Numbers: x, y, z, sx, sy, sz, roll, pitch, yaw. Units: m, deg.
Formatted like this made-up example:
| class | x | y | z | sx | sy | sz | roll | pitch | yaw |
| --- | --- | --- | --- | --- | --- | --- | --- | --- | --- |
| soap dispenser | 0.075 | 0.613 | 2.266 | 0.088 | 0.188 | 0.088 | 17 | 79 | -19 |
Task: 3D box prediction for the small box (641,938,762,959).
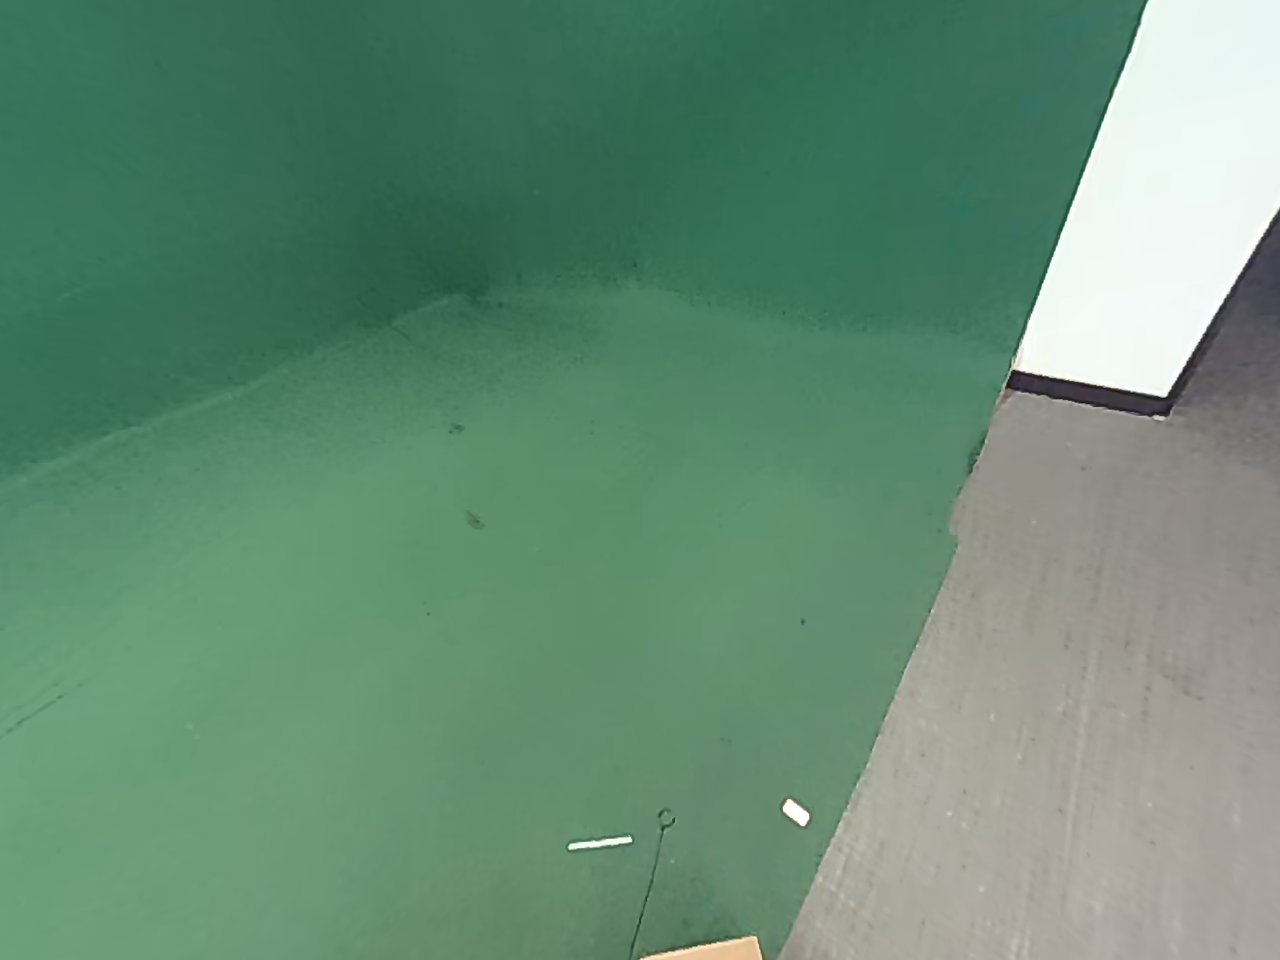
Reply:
| class | x | y | z | sx | sy | sz | roll | pitch | yaw |
| --- | --- | --- | --- | --- | --- | --- | --- | --- | --- |
| small box | 0.100 | 0.782 | 0.758 | 0.179 | 0.176 | 0.168 | -8 | 38 | -3 |
